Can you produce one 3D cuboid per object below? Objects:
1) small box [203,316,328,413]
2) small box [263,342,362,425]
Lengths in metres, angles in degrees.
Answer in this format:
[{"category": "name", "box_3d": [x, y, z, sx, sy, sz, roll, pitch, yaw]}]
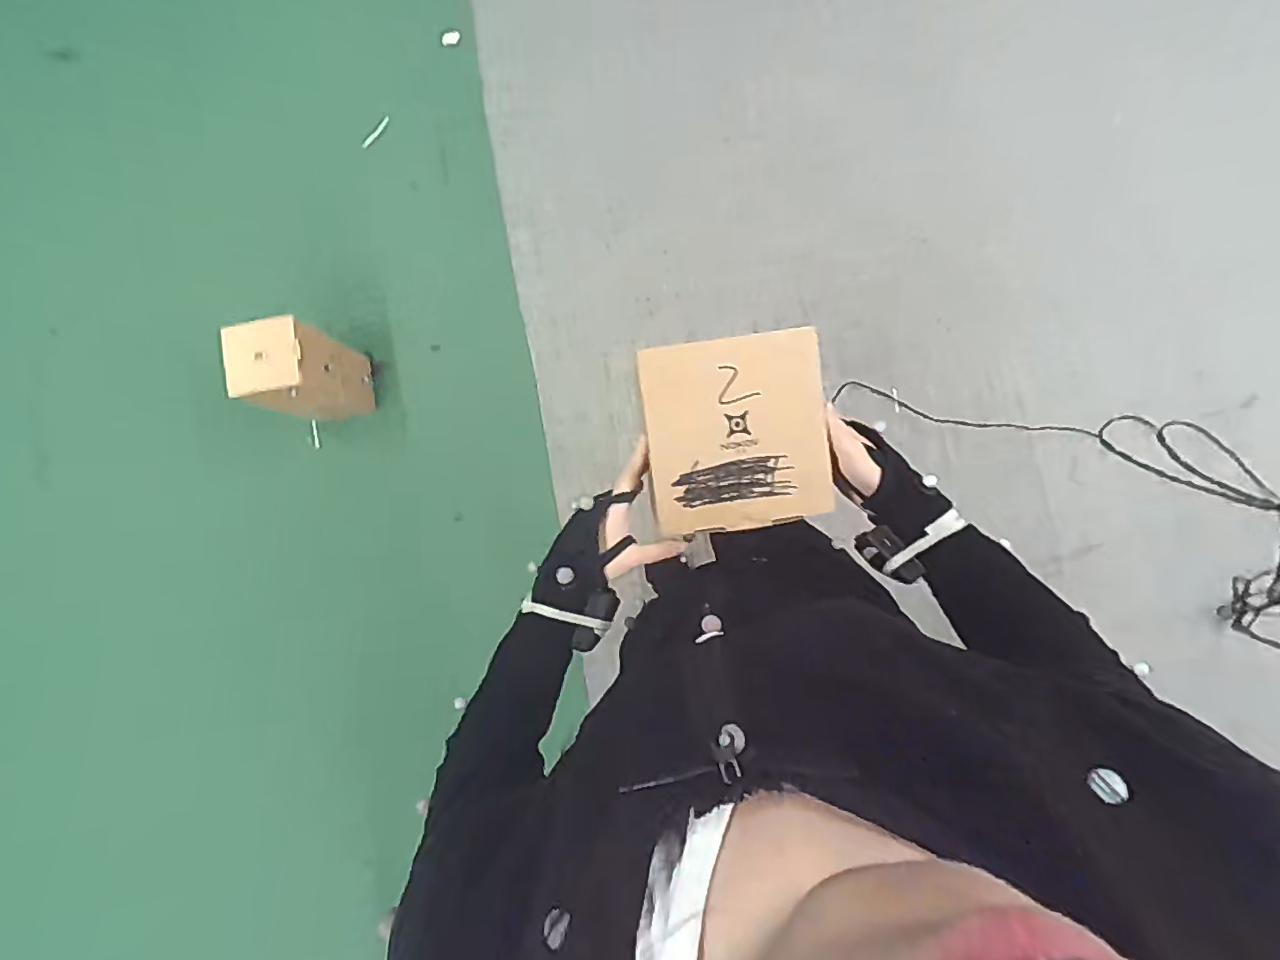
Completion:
[{"category": "small box", "box_3d": [-0.885, -0.267, 1.290, 0.179, 0.176, 0.168, -11, 85, 0]}, {"category": "small box", "box_3d": [-0.882, -0.252, 1.452, 0.179, 0.176, 0.168, -10, 86, -1]}]
